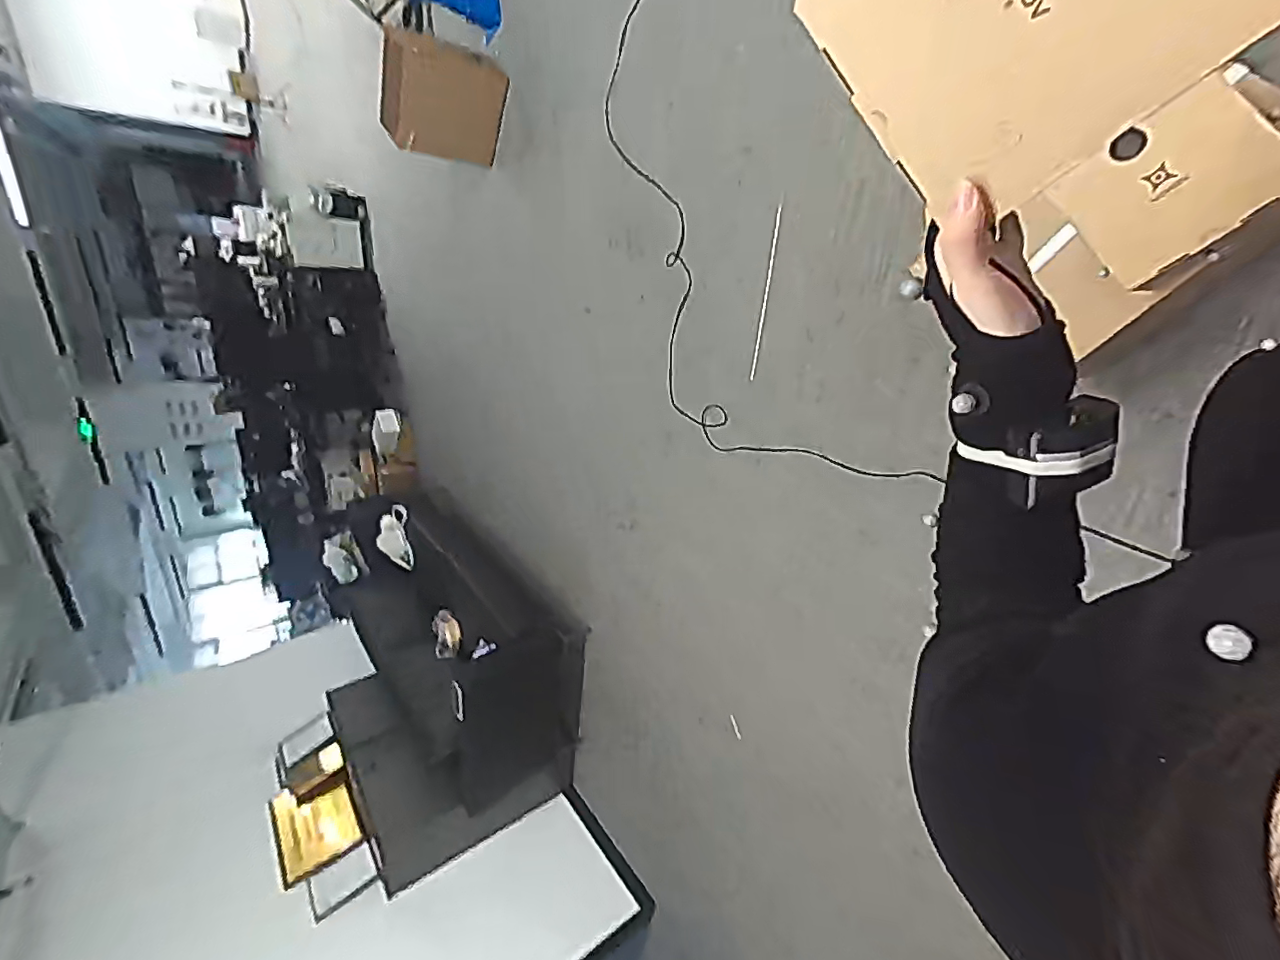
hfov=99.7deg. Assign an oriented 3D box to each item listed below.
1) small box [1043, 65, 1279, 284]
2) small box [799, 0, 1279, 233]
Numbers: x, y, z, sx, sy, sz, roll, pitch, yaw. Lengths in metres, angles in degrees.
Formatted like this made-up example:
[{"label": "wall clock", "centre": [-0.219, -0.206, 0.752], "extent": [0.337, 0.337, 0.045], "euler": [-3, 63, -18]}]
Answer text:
[{"label": "small box", "centre": [0.650, -0.362, 0.662], "extent": [0.168, 0.176, 0.179], "euler": [-43, 71, 49]}, {"label": "small box", "centre": [0.225, -0.266, 0.277], "extent": [0.168, 0.176, 0.179], "euler": [55, 144, -3]}]
